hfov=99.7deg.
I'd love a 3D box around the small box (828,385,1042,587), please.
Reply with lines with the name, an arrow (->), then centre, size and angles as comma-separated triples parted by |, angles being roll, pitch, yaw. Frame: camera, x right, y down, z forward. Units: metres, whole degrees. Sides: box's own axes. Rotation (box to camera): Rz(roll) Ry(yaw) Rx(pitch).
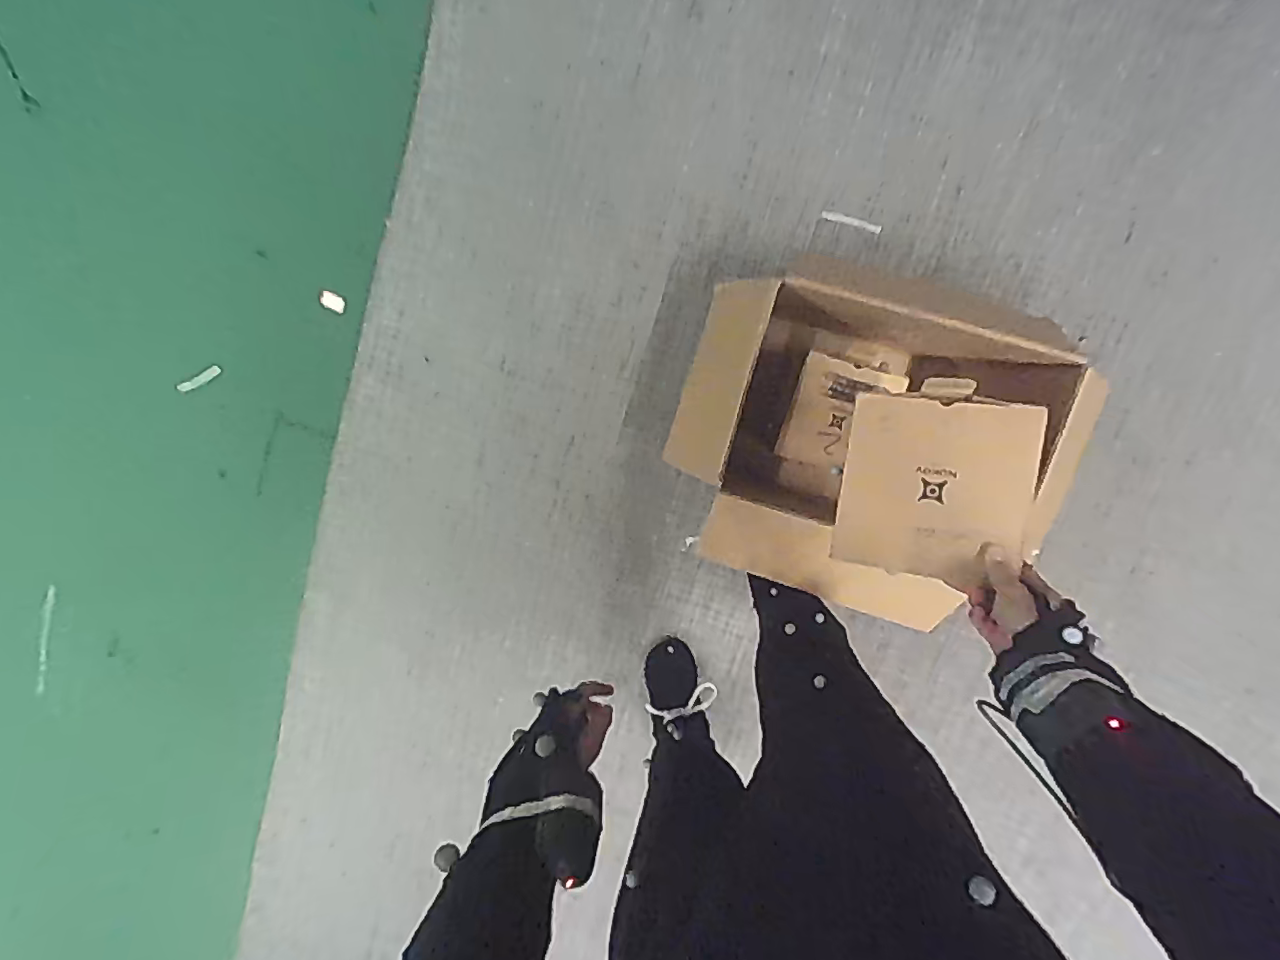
small box -> 0.306, 0.004, 0.595 | 0.168, 0.176, 0.179 | 9, 91, 22
